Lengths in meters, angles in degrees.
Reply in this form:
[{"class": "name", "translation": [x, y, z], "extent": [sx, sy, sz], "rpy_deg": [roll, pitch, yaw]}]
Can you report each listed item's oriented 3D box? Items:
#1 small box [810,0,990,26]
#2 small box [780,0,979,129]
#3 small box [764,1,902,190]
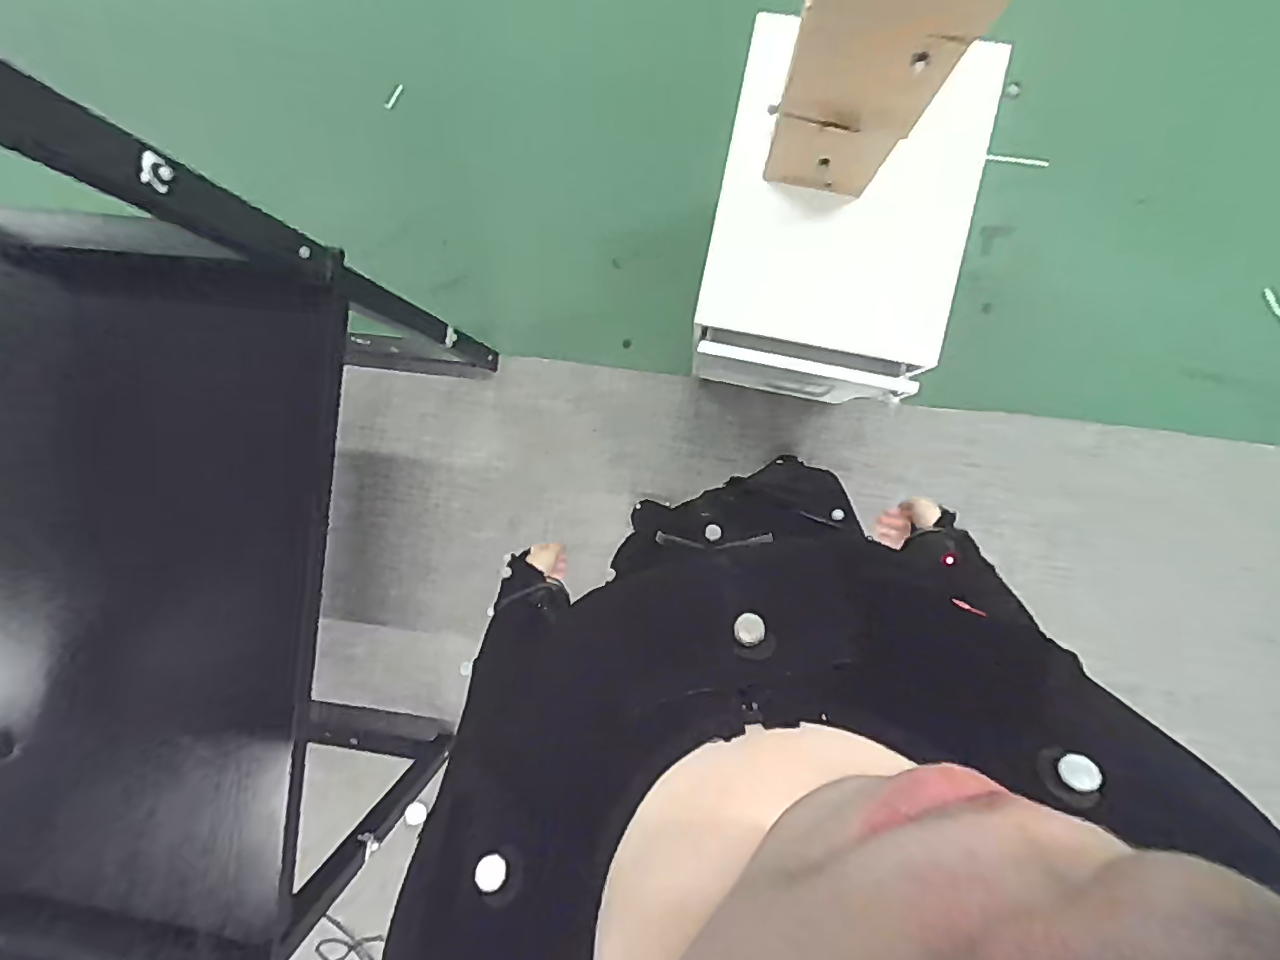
[{"class": "small box", "translation": [0.253, -0.528, 0.451], "extent": [0.179, 0.176, 0.168], "rpy_deg": [7, 94, 4]}, {"class": "small box", "translation": [0.272, -0.539, 0.614], "extent": [0.179, 0.176, 0.168], "rpy_deg": [15, 93, 3]}, {"class": "small box", "translation": [0.283, -0.549, 0.776], "extent": [0.168, 0.176, 0.179], "rpy_deg": [12, 94, 4]}]
